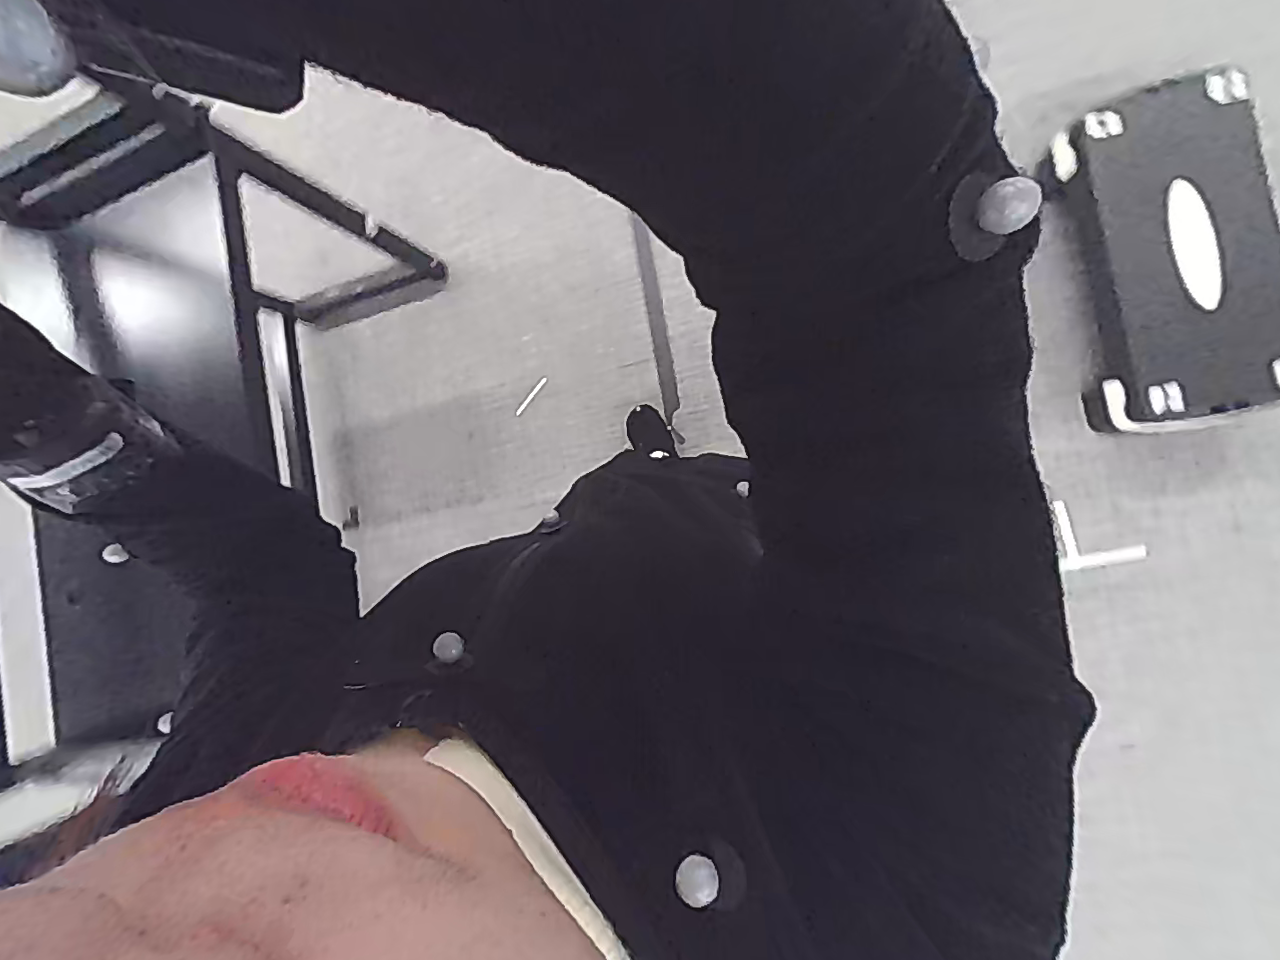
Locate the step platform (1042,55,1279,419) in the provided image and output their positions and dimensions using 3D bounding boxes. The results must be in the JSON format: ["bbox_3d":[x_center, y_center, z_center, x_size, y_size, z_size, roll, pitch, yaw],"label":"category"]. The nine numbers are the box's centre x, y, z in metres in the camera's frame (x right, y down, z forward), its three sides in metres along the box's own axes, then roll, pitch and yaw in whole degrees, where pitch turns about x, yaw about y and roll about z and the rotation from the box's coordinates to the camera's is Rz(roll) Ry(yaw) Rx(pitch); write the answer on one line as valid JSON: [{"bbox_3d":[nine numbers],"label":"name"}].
[{"bbox_3d":[1.073,-0.479,1.122,0.286,0.204,0.684,-6,87,16],"label":"step platform"}]
